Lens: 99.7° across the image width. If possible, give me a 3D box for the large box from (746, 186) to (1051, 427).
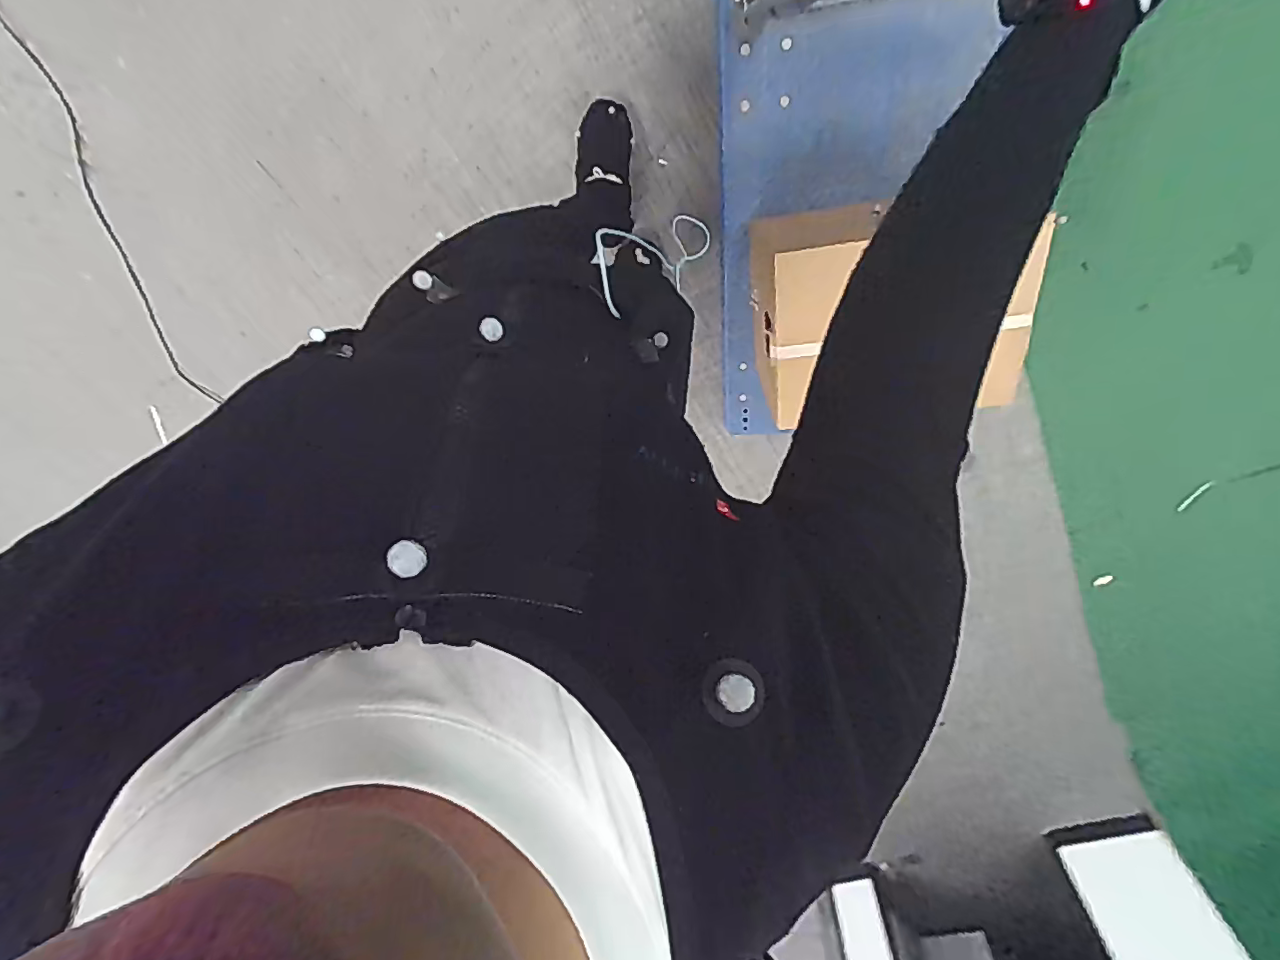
[{"bbox_3d":[0.425,-0.328,1.002,0.408,0.320,0.320,-7,125,7],"label":"large box"}]
